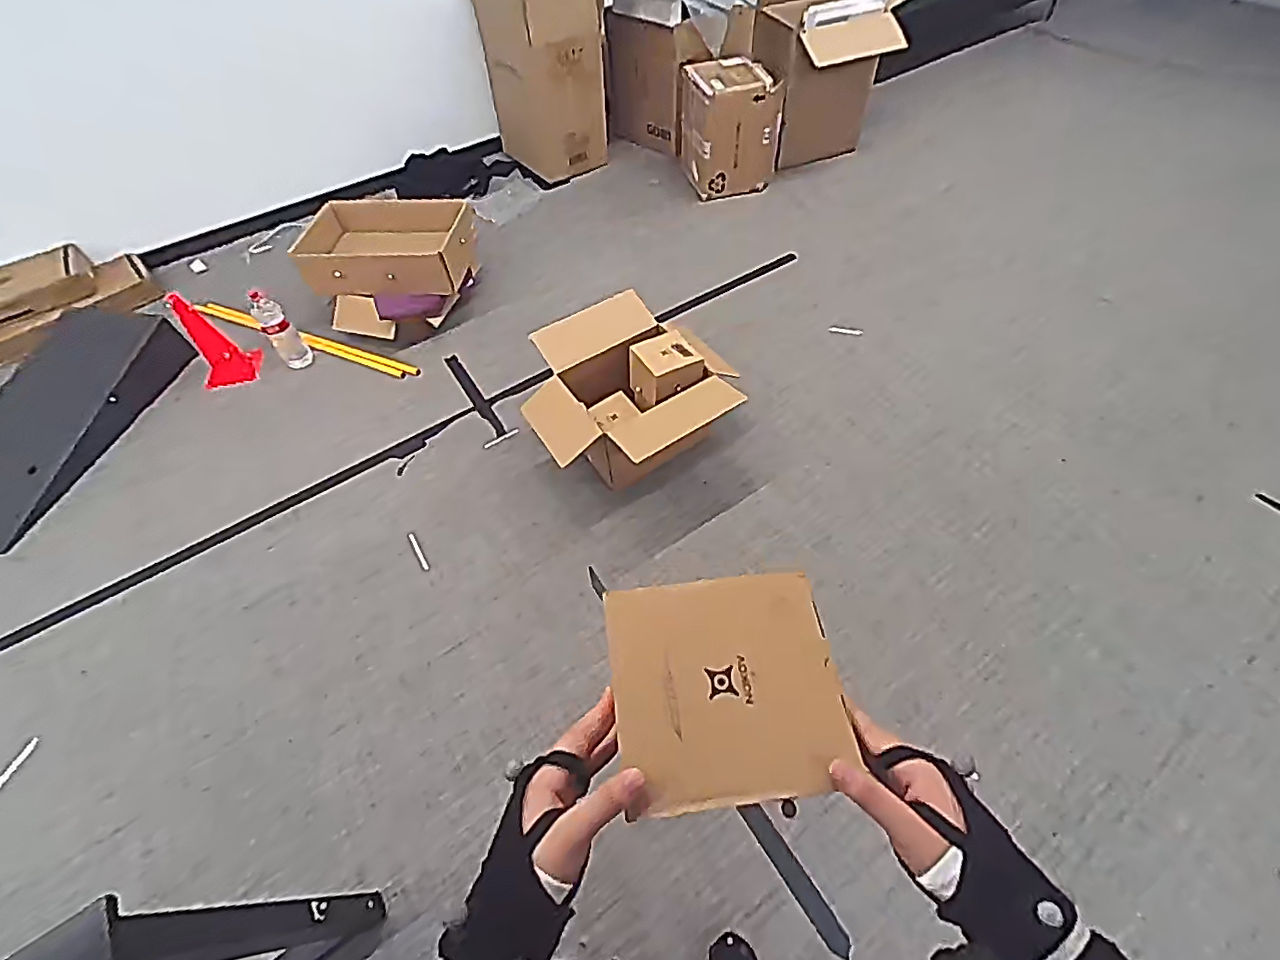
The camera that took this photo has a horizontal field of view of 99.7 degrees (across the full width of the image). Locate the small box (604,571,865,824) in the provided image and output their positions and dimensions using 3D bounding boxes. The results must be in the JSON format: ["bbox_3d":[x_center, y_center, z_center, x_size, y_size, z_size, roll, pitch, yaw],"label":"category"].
[{"bbox_3d":[0.065,0.197,0.486,0.179,0.176,0.168,-8,59,-4],"label":"small box"}]
